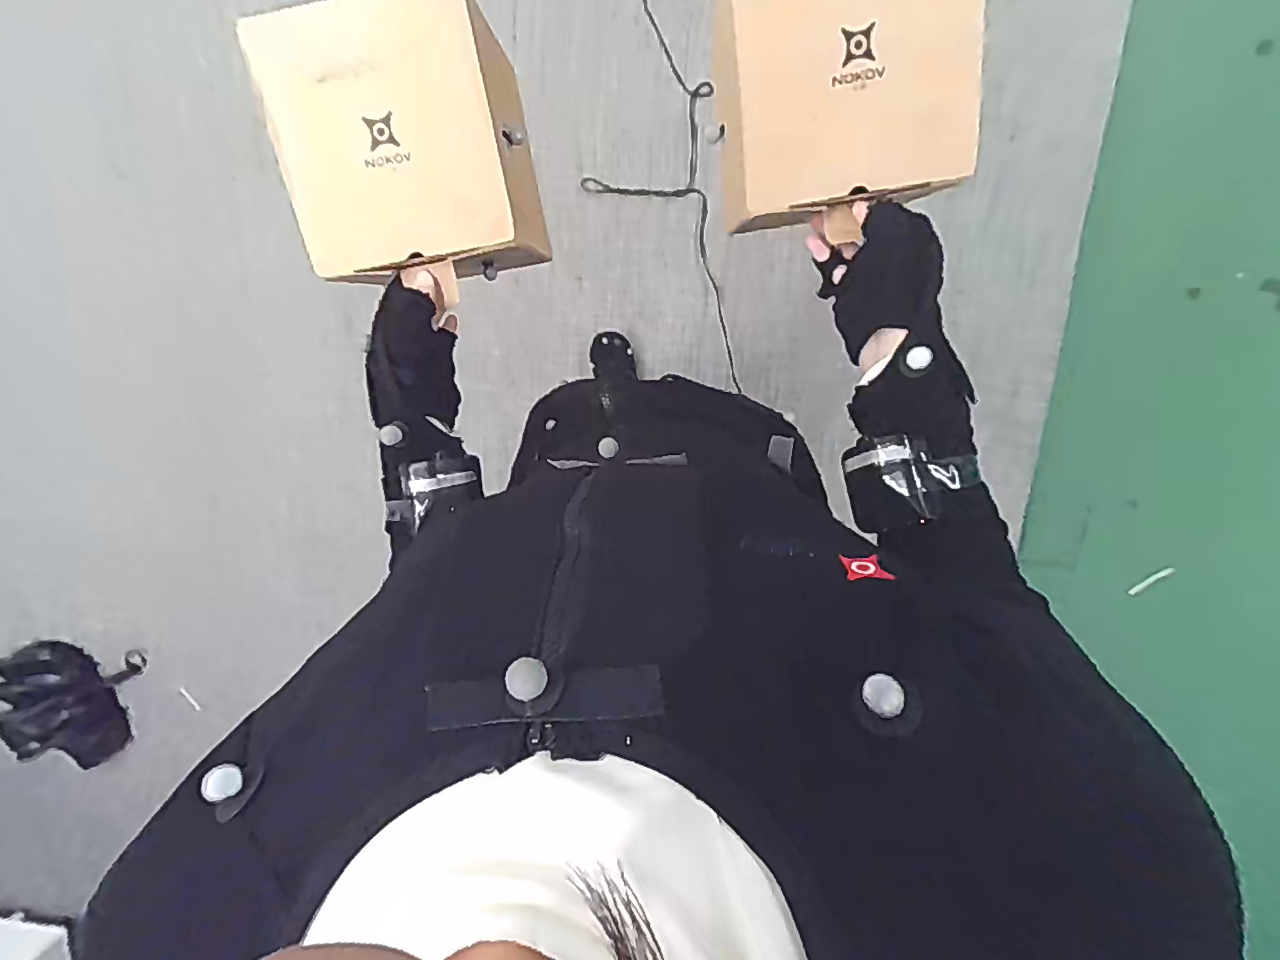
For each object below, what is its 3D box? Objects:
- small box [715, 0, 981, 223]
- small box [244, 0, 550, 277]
[{"bbox_3d":[0.156,-0.324,0.455,0.168,0.176,0.179,-6,109,5],"label":"small box"},{"bbox_3d":[-0.186,-0.284,0.478,0.168,0.176,0.179,-10,106,3],"label":"small box"}]
